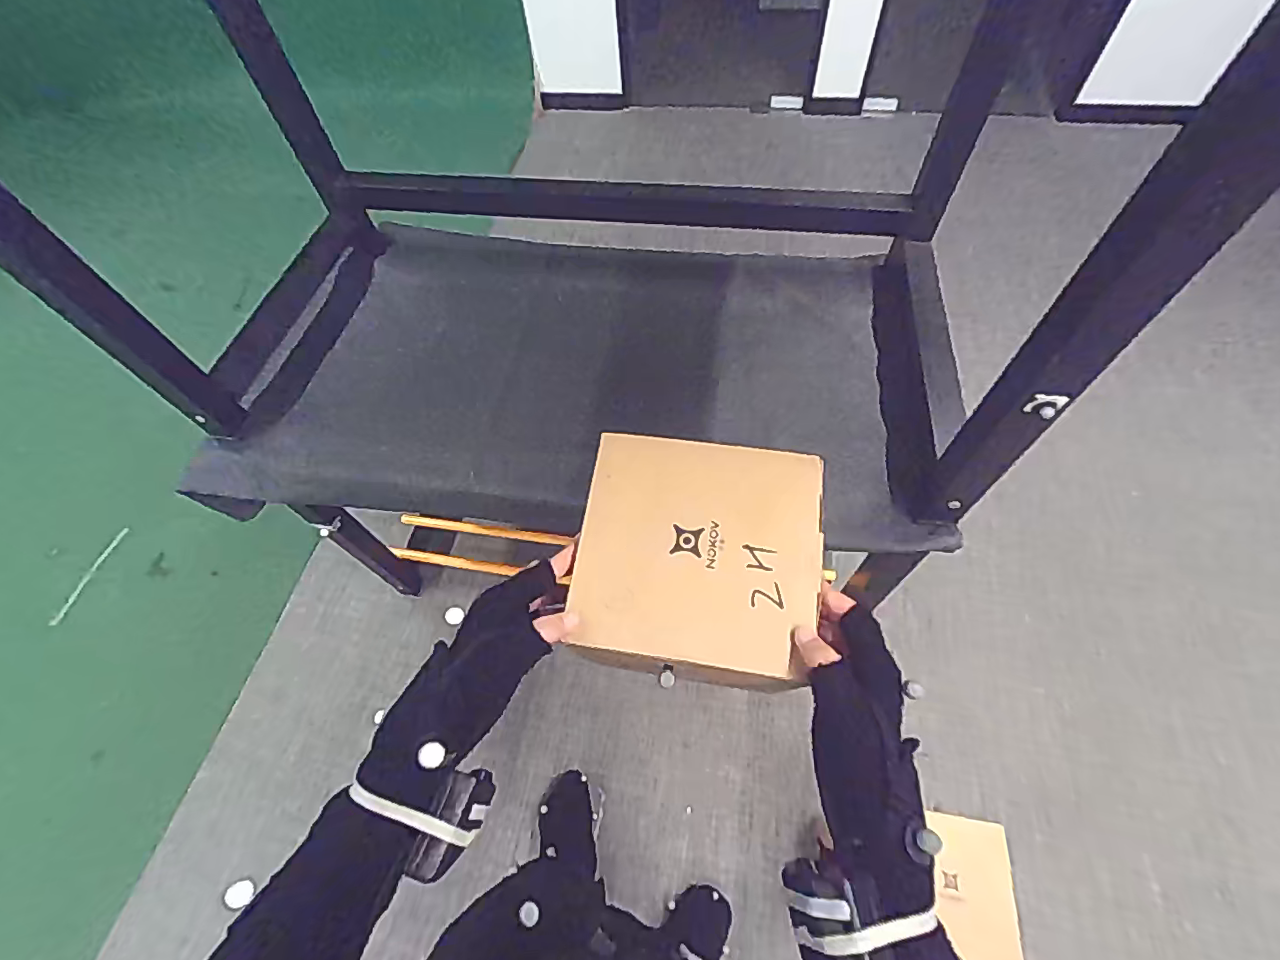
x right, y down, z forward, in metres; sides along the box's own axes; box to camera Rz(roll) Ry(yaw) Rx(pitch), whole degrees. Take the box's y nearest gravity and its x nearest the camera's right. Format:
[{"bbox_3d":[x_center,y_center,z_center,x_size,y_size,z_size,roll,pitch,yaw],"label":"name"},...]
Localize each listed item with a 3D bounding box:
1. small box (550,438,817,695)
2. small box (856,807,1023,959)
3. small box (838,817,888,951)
[{"bbox_3d":[0.040,0.083,0.462,0.179,0.176,0.168,8,67,6],"label":"small box"},{"bbox_3d":[0.428,0.605,0.805,0.168,0.176,0.179,6,59,9],"label":"small box"},{"bbox_3d":[0.450,0.699,0.937,0.168,0.176,0.179,4,57,7],"label":"small box"}]
